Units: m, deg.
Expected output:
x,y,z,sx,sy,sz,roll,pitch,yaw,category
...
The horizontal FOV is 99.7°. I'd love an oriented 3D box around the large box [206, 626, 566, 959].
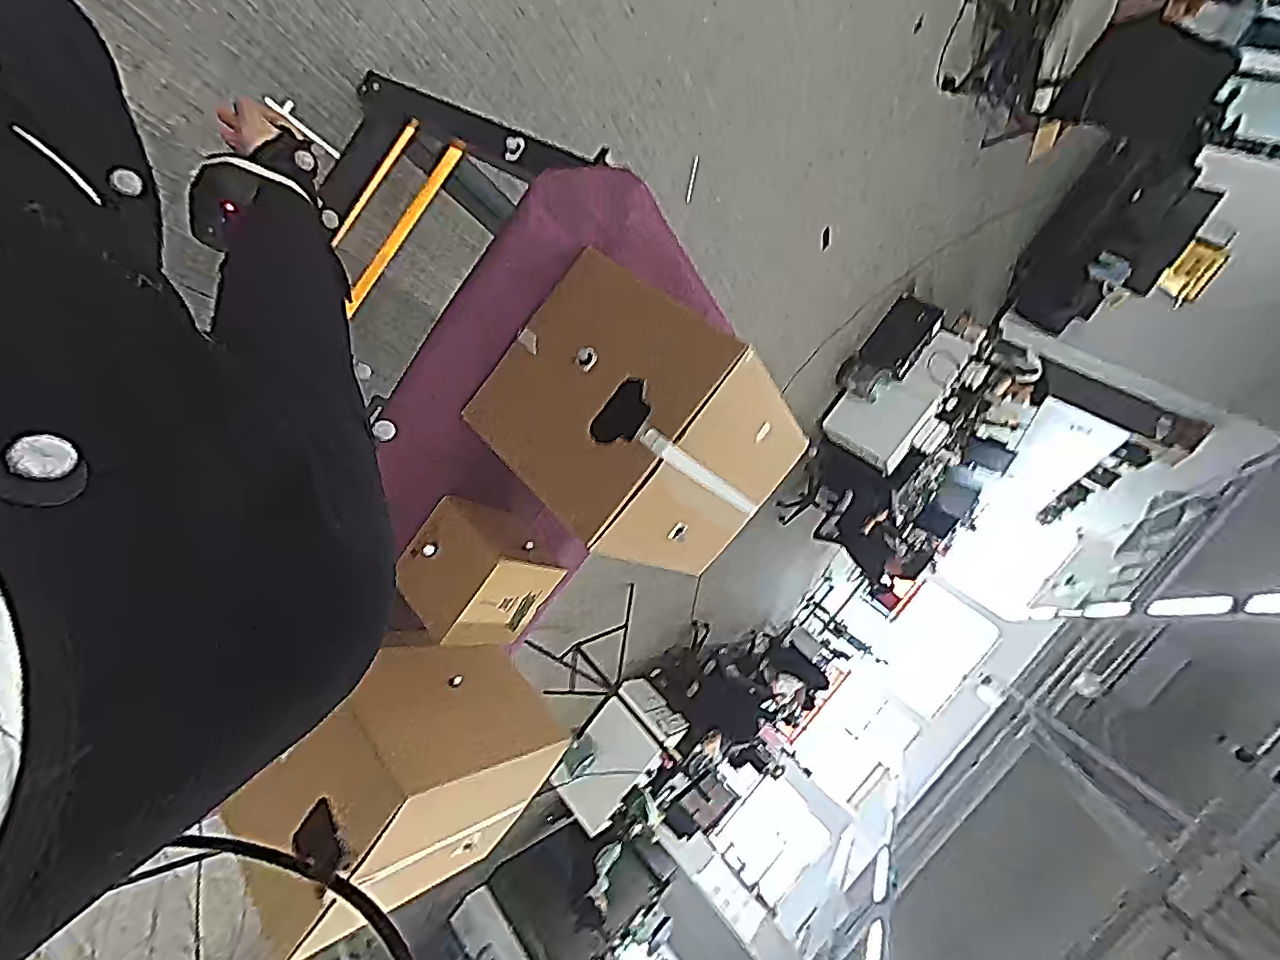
x,y,z,sx,sy,sz,roll,pitch,yaw,category
-0.415,0.476,0.937,0.320,0.320,0.408,-53,152,5,large box
